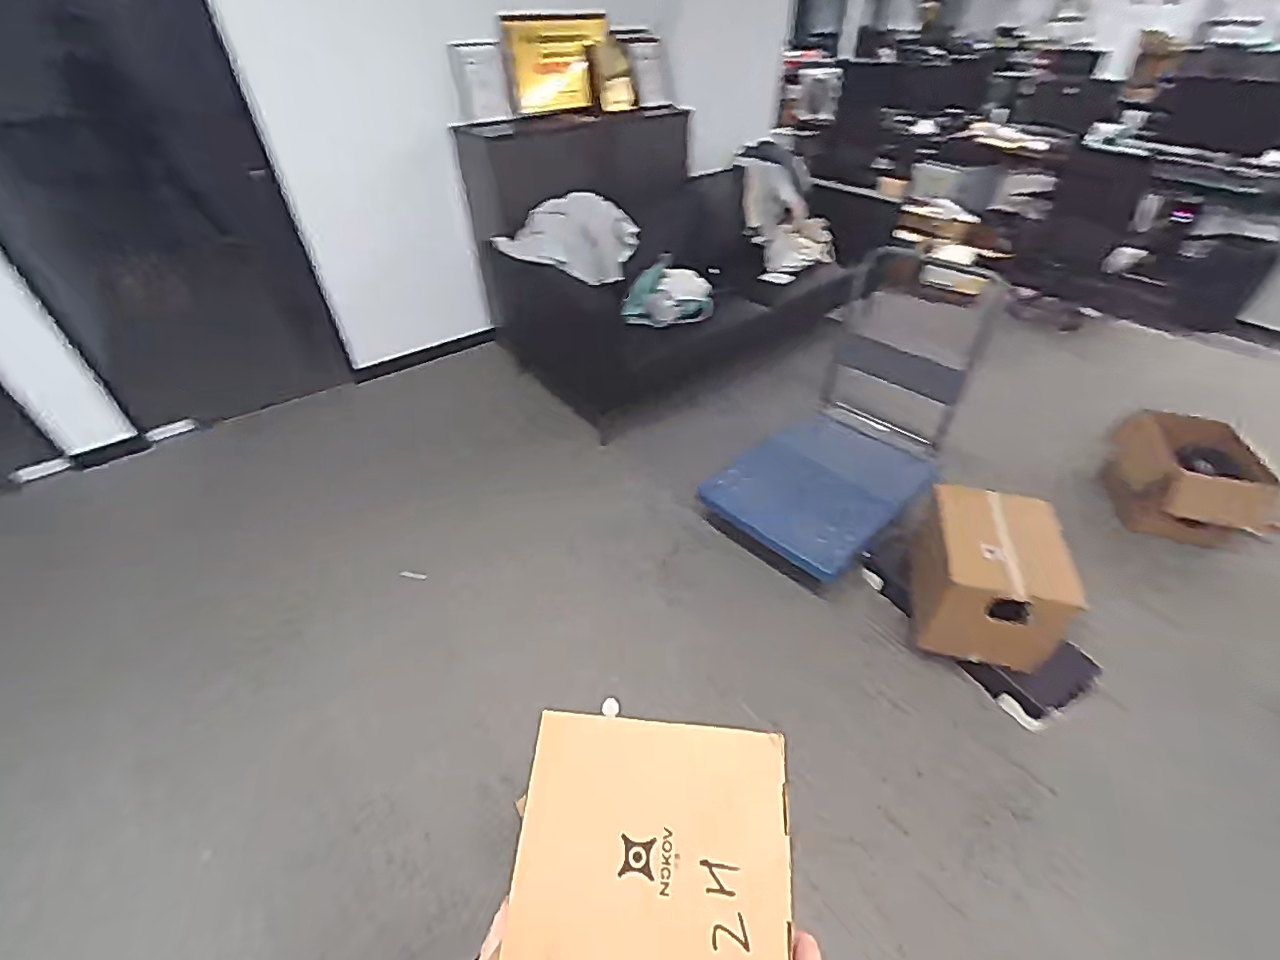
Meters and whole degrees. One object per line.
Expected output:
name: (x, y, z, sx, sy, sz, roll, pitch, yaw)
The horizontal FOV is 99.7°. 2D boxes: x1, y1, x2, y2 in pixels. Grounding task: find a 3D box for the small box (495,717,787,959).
small box: (0.008, 0.286, 0.412, 0.179, 0.176, 0.168, 3, 60, 4)
